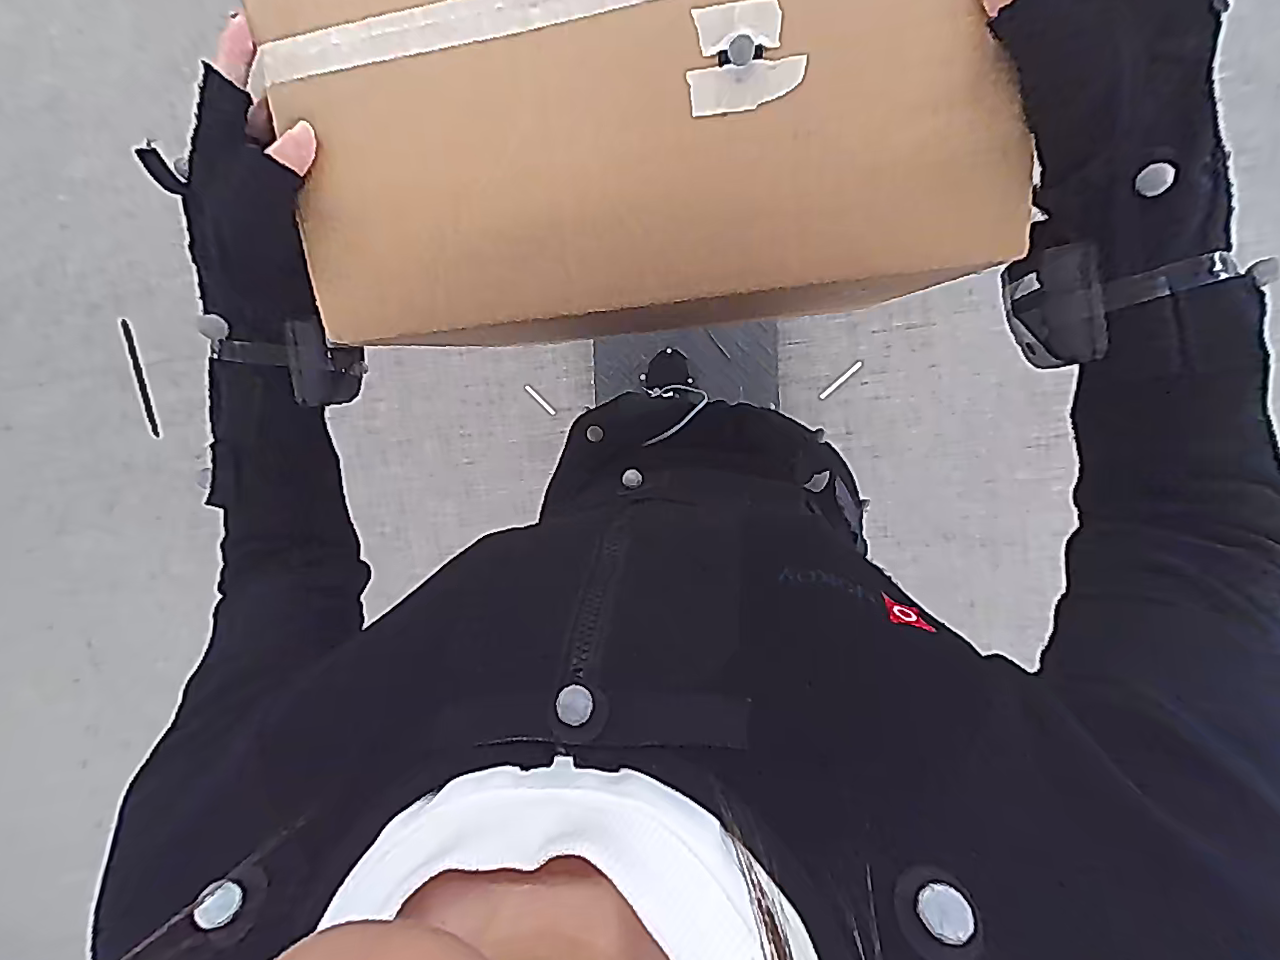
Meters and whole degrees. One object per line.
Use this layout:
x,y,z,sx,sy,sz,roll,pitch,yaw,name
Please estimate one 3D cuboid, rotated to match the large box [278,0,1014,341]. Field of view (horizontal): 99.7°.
0.006,-0.296,0.434,0.408,0.320,0.320,-4,103,9,large box
